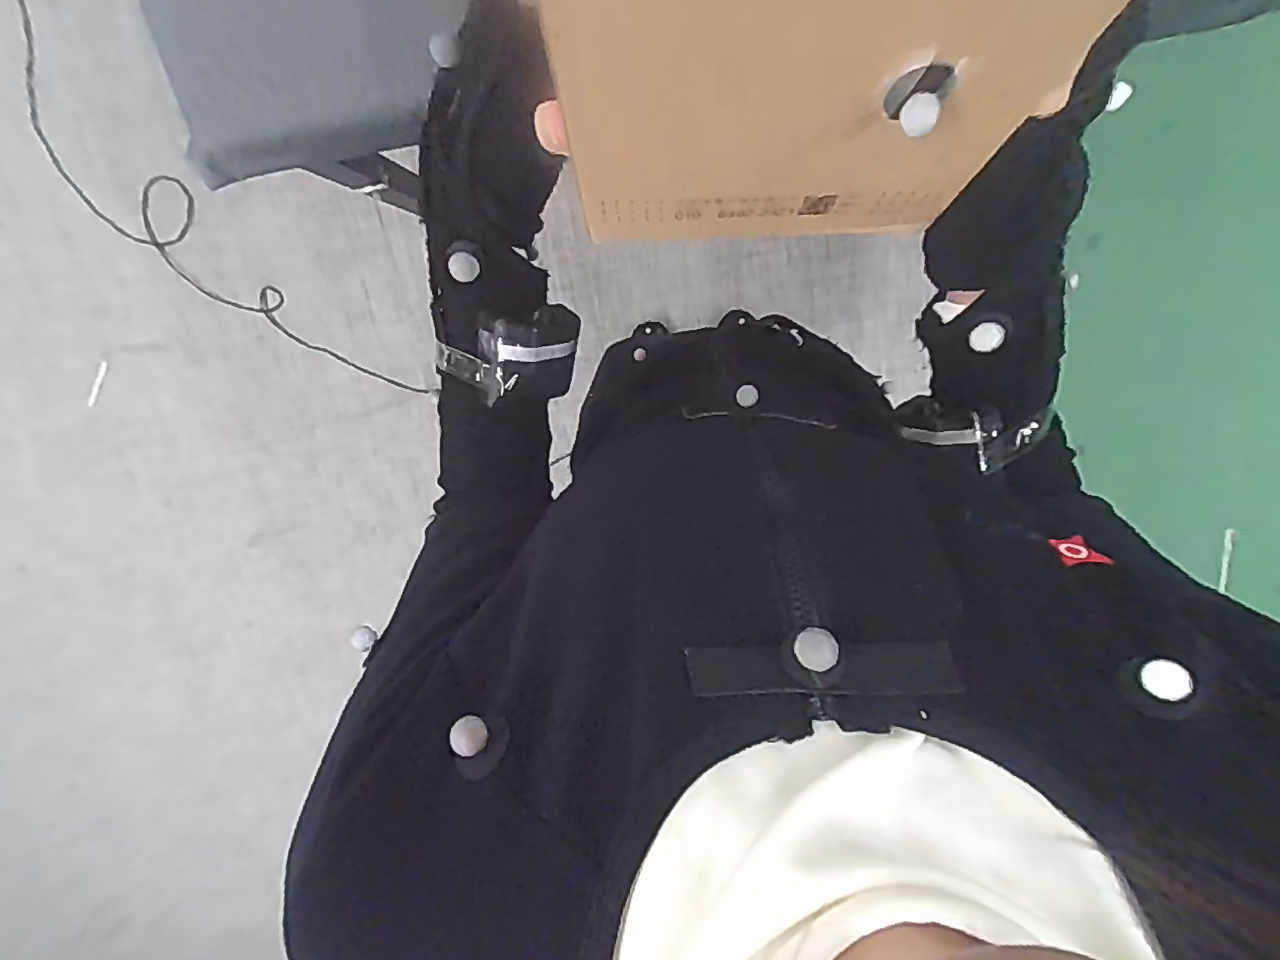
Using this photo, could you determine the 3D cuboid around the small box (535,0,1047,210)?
[{"bbox_3d":[0.049,-0.221,0.196,0.168,0.176,0.179,-2,84,0],"label":"small box"}]
